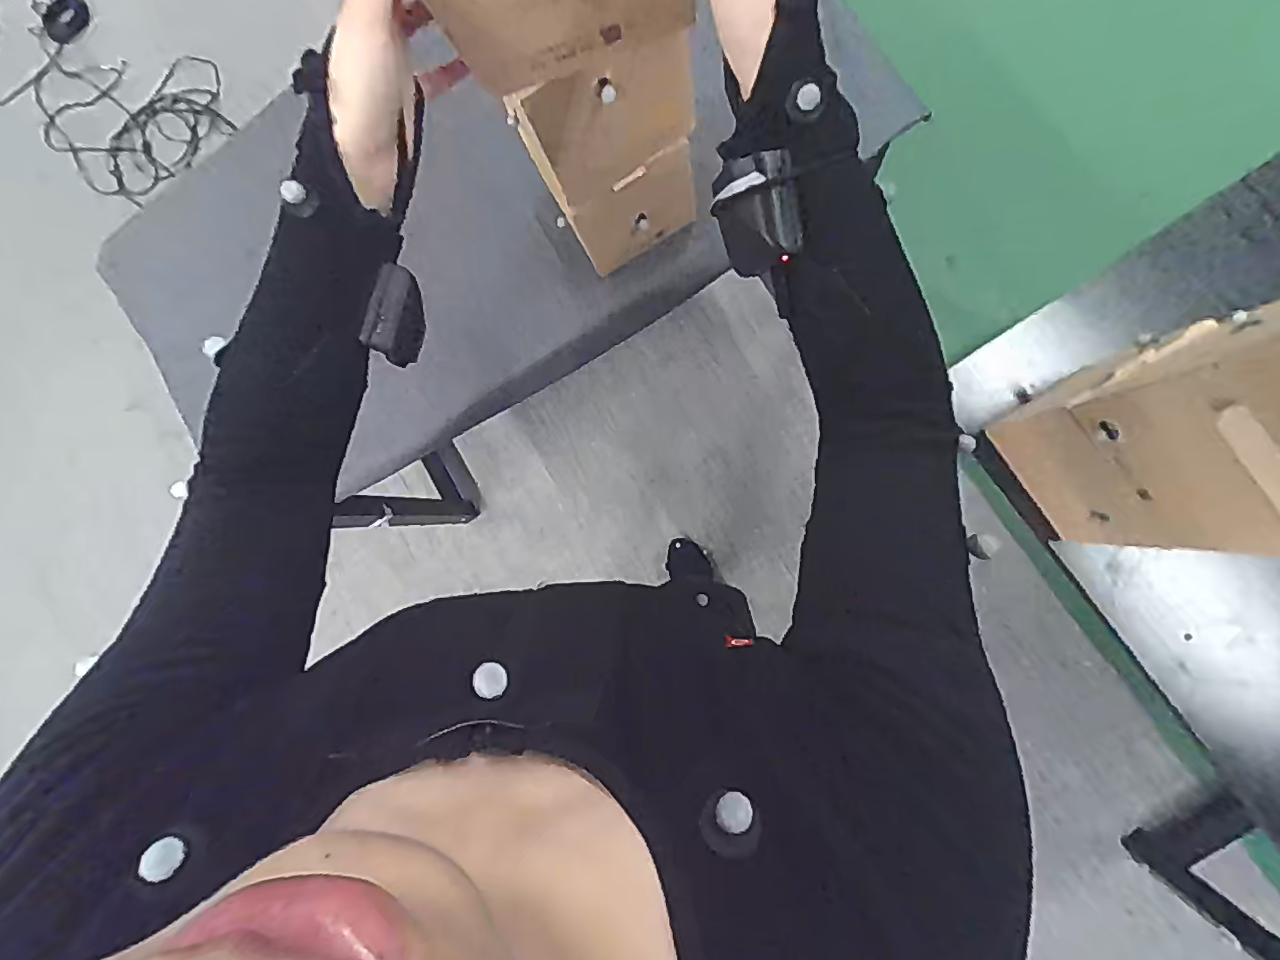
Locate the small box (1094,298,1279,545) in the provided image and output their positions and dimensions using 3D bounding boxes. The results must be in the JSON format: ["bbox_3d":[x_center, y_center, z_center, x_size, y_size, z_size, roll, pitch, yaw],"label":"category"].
[{"bbox_3d":[0.534,-0.053,0.445,0.179,0.176,0.168,-30,84,5],"label":"small box"}]

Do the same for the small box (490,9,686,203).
[{"bbox_3d":[-0.064,-0.440,0.563,0.179,0.176,0.168,-32,81,7],"label":"small box"}]

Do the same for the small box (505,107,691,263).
[{"bbox_3d":[-0.044,-0.421,0.724,0.168,0.176,0.179,-30,81,7],"label":"small box"}]

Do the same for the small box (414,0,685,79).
[{"bbox_3d":[-0.073,-0.382,0.315,0.168,0.176,0.179,-12,89,10],"label":"small box"}]
